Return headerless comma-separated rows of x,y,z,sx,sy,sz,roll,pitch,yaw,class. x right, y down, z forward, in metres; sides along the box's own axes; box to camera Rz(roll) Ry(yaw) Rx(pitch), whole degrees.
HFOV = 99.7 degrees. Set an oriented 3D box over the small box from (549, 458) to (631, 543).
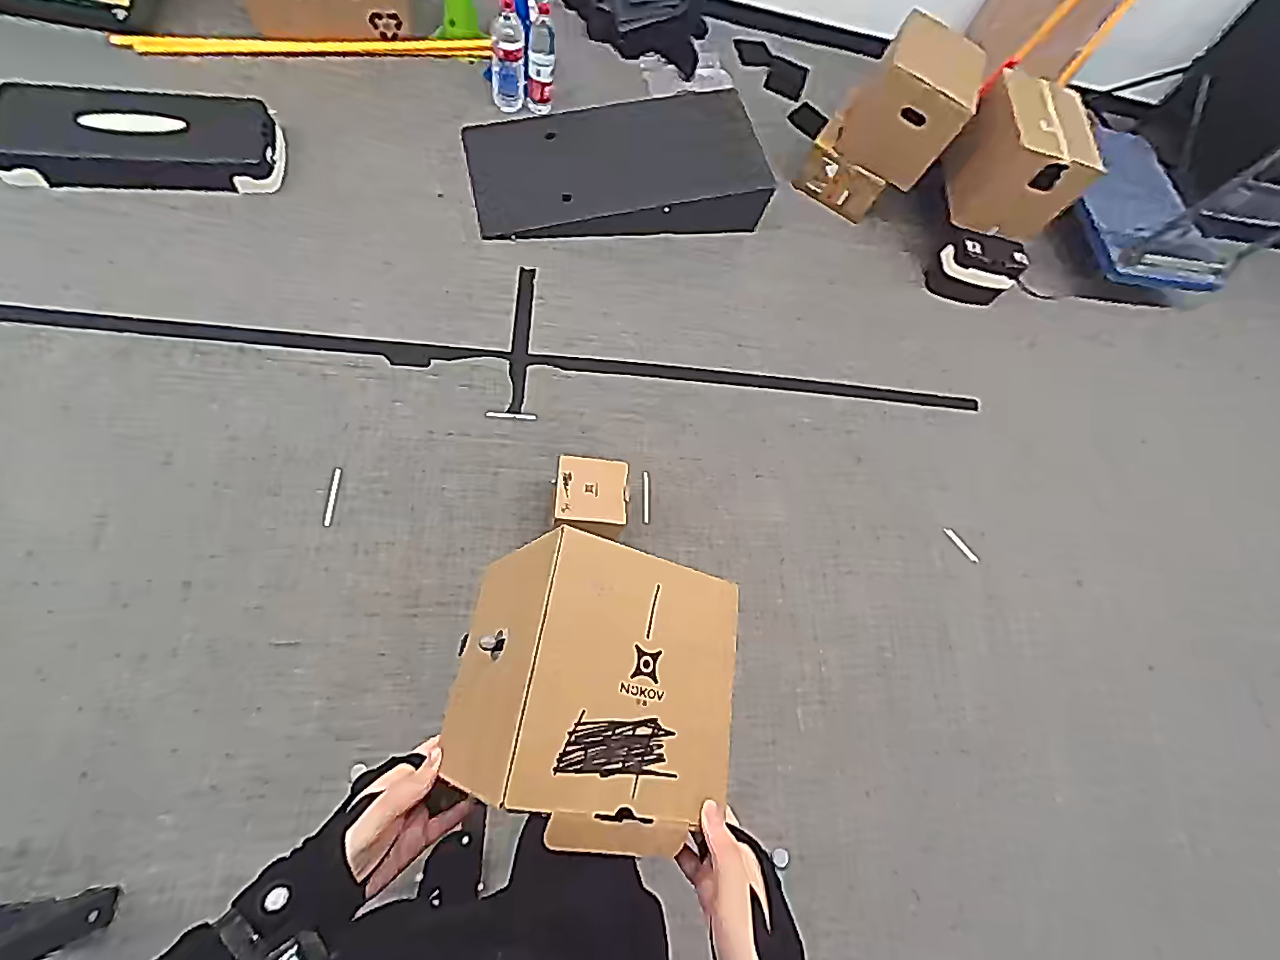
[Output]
-0.130,0.059,1.387,0.179,0.176,0.168,8,67,-12,small box
